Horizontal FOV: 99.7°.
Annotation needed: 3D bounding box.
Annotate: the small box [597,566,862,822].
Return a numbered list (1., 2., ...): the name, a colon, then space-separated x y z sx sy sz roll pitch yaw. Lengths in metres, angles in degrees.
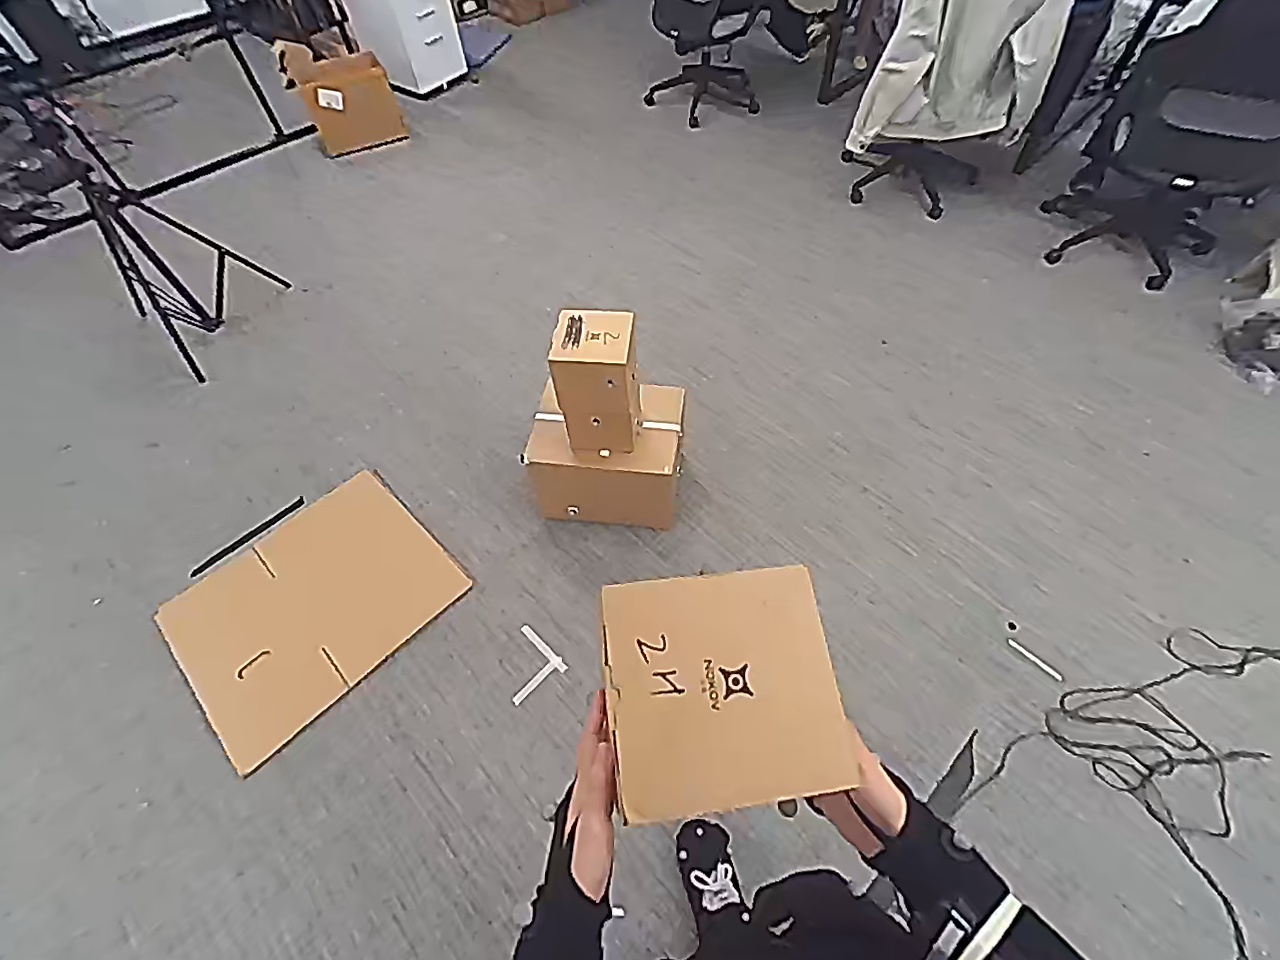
1. small box: 0.058 0.182 0.479 0.179 0.176 0.168 -5 67 -8

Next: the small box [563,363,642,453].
1. small box: -0.091 -0.186 1.417 0.179 0.176 0.168 4 58 4
